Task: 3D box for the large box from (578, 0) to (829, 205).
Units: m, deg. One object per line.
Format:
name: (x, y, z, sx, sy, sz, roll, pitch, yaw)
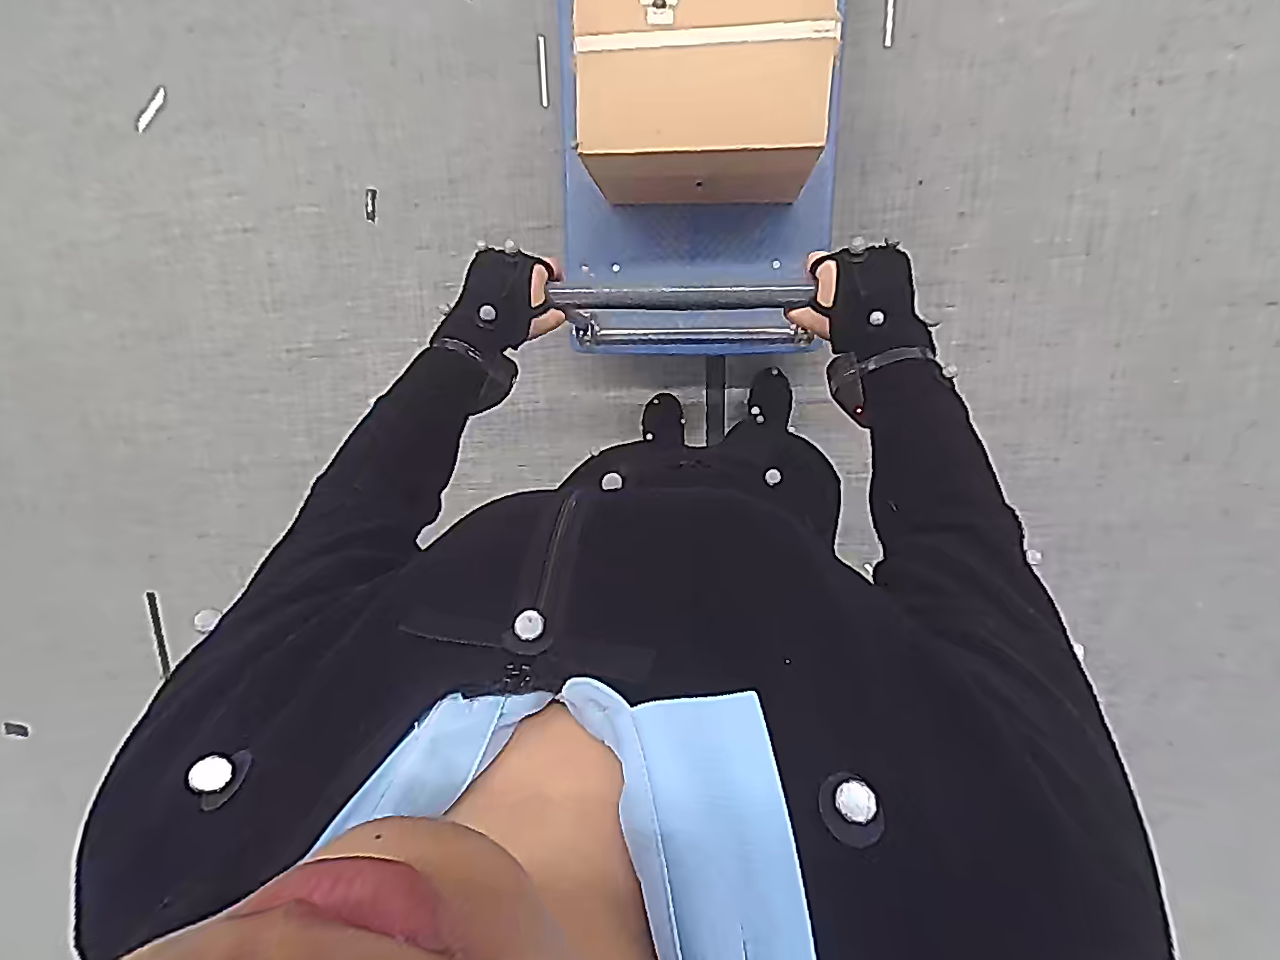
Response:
large box: (0.116, -0.726, 1.011, 0.408, 0.320, 0.320, 2, 102, 7)
